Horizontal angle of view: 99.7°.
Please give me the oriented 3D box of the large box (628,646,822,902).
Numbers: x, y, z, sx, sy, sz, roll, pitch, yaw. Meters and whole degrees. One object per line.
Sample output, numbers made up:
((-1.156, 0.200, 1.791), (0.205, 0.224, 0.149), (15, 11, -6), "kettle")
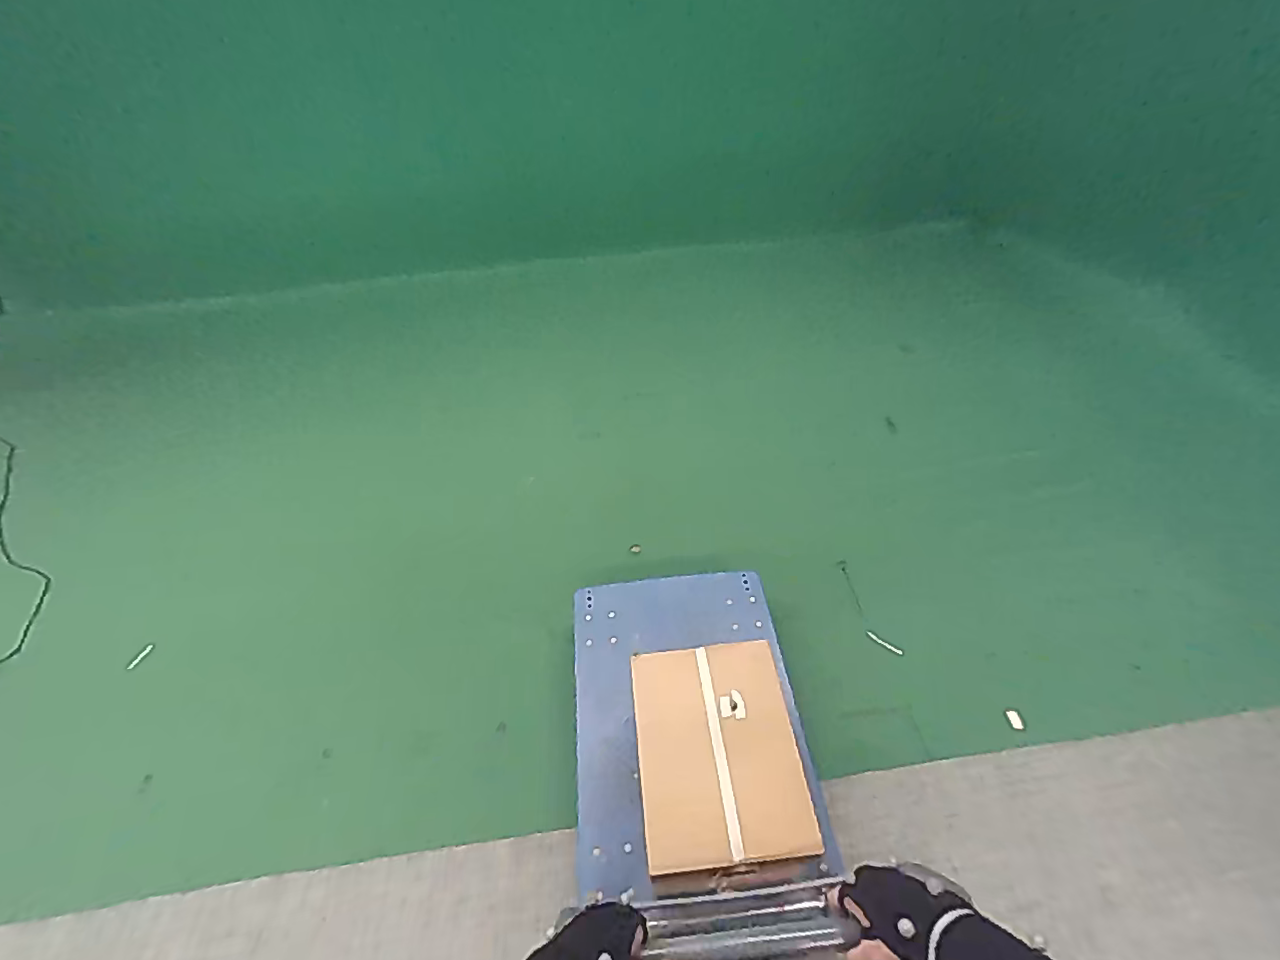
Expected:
((0.156, 0.635, 1.181), (0.320, 0.320, 0.408), (-6, 46, -3), "large box")
